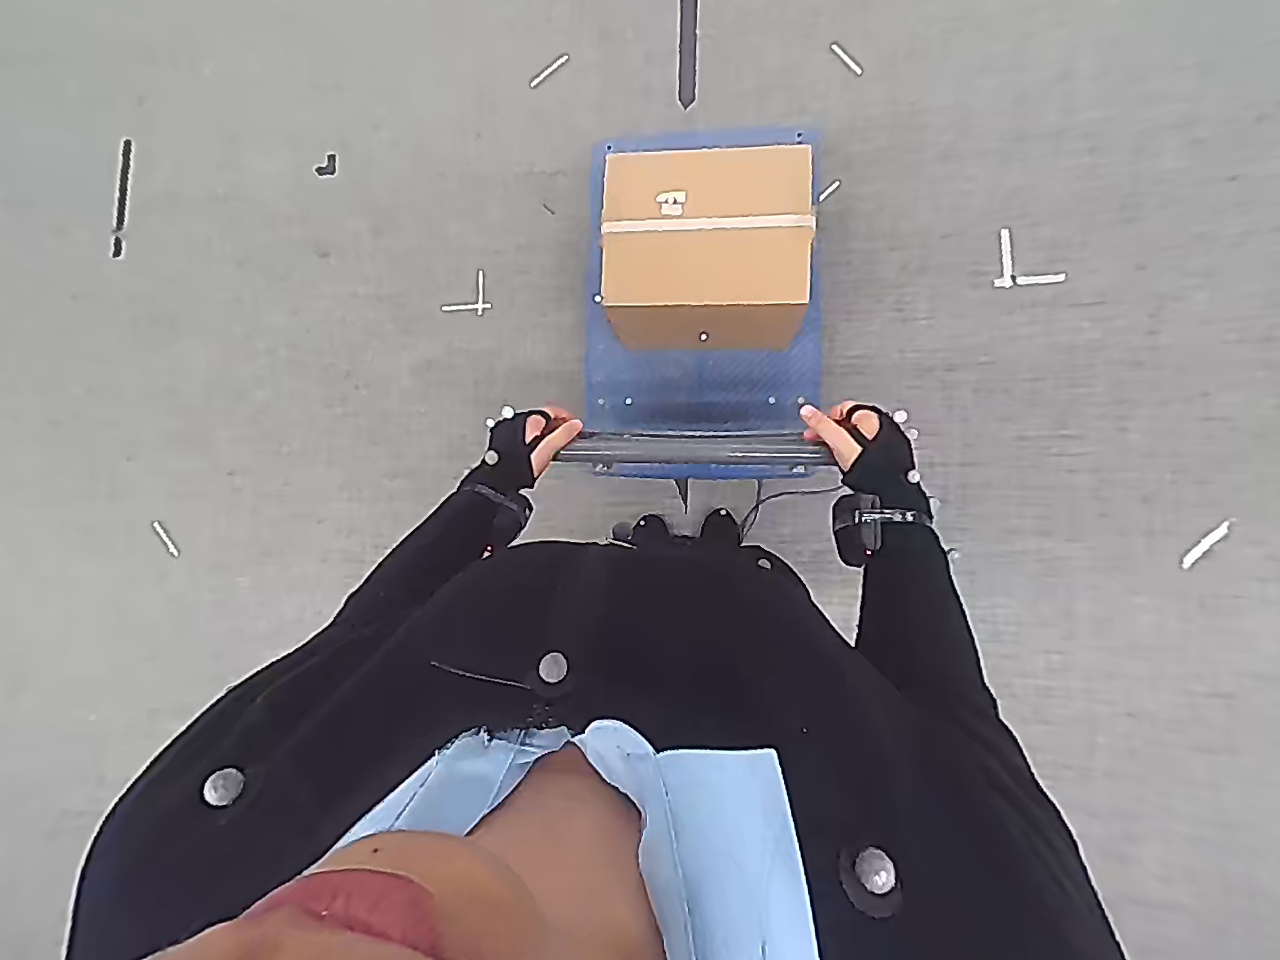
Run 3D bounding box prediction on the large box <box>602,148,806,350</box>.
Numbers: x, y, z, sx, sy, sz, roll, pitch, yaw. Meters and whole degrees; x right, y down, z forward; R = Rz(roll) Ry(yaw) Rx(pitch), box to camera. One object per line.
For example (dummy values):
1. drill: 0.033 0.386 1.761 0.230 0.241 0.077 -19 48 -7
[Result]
1. large box: 0.145 -0.487 1.216 0.408 0.320 0.320 1 86 8
